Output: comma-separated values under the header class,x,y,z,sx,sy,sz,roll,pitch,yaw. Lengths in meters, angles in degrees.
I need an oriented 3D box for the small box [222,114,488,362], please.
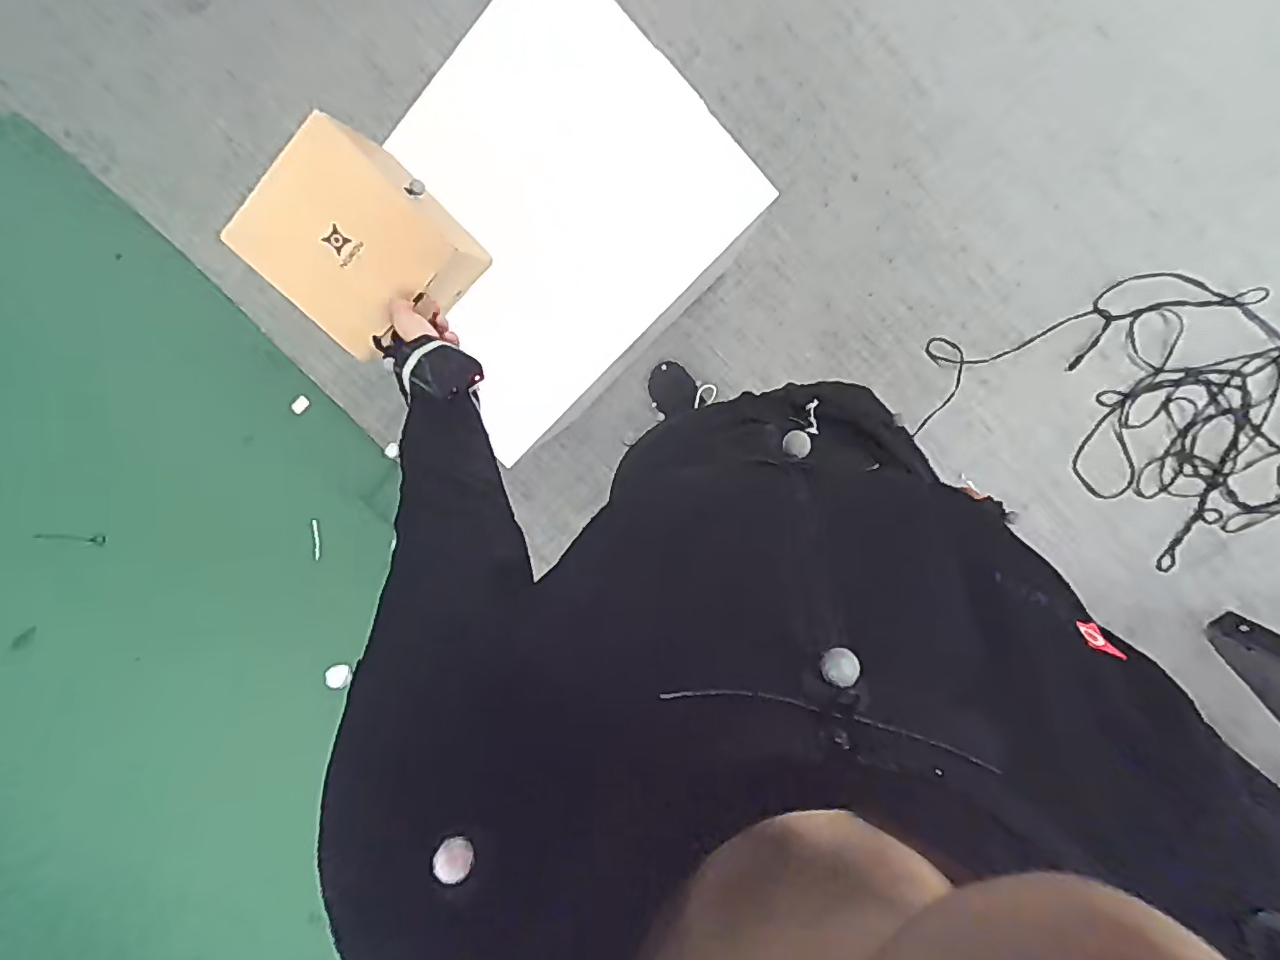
class,x,y,z,sx,sy,sz,roll,pitch,yaw
small box,-0.304,-0.260,0.620,0.168,0.176,0.179,-43,107,11
